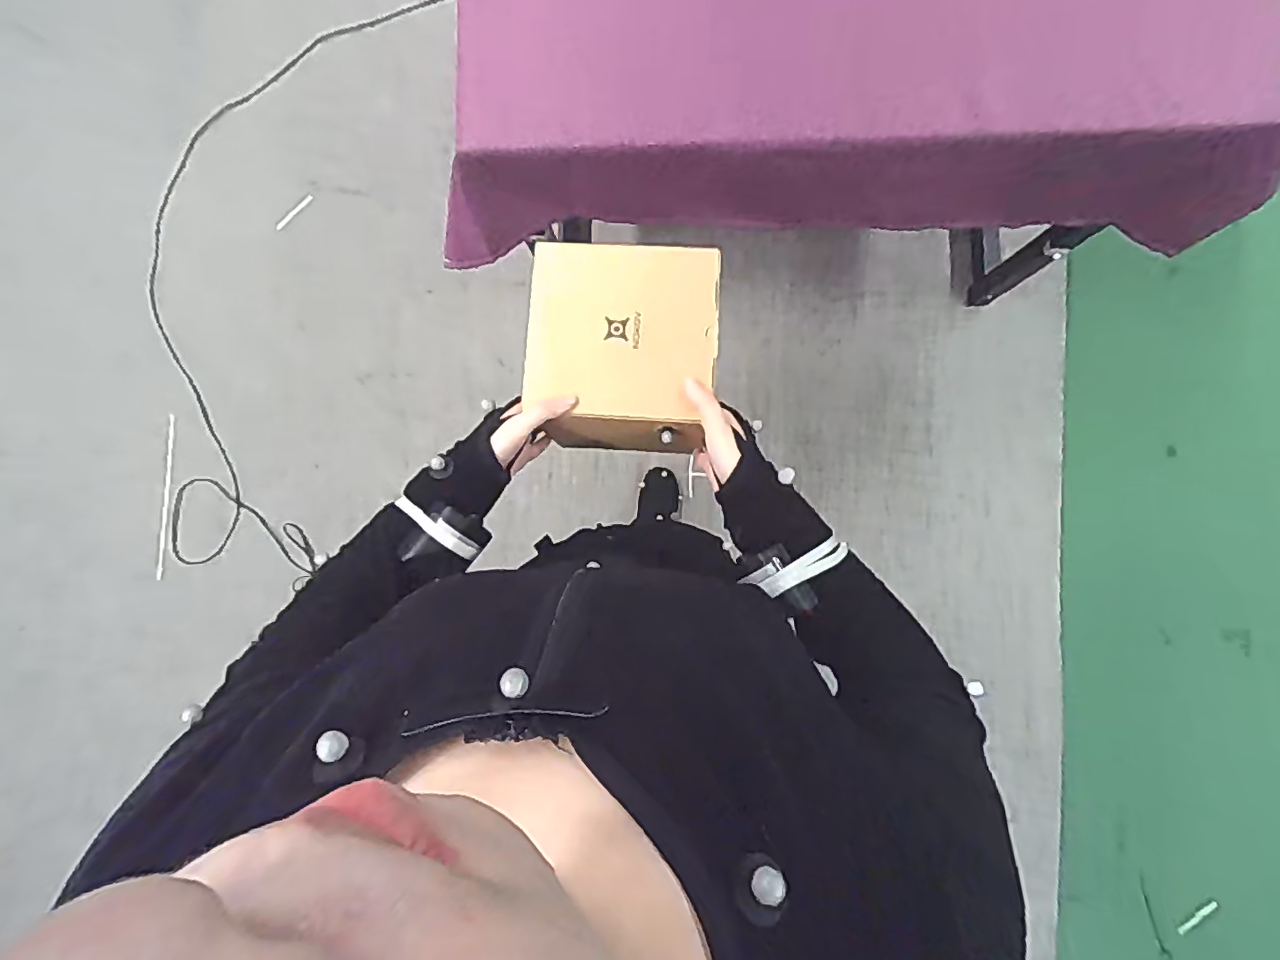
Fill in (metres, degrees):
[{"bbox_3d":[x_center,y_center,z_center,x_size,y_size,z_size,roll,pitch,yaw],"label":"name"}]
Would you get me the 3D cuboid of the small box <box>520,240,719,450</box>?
[{"bbox_3d":[-0.014,-0.131,0.578,0.179,0.176,0.168,4,82,3],"label":"small box"}]
